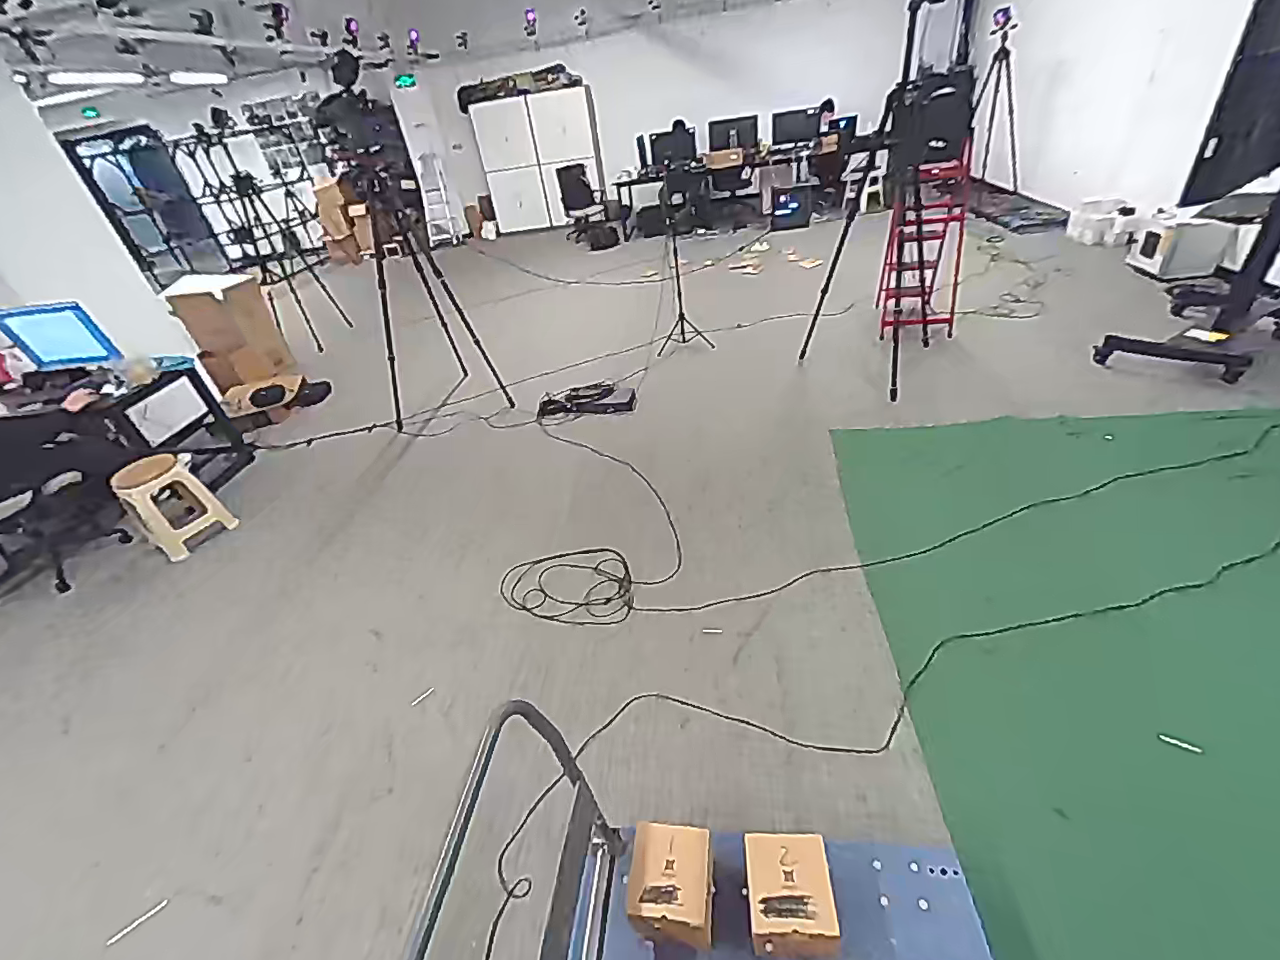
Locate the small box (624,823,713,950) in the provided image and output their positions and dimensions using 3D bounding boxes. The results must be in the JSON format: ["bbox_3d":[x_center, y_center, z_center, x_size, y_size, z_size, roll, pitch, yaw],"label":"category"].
[{"bbox_3d":[0.071,0.890,1.185,0.168,0.176,0.179,-1,35,12],"label":"small box"}]
